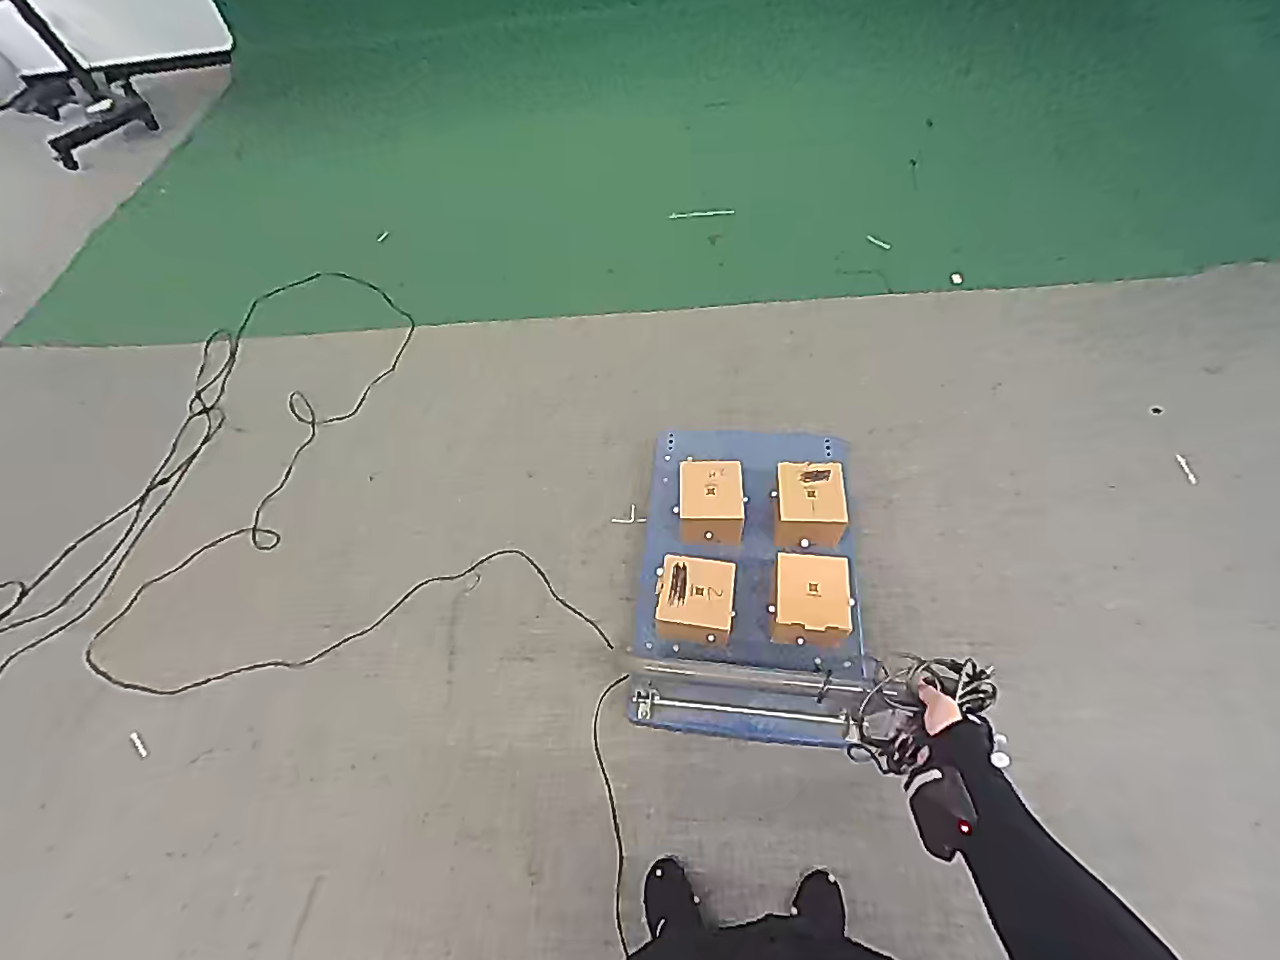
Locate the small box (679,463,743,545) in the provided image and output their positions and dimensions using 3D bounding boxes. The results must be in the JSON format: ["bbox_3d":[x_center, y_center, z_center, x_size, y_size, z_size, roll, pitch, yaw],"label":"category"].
[{"bbox_3d":[0.194,0.069,1.486,0.168,0.176,0.179,0,59,5],"label":"small box"}]

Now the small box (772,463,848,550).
[{"bbox_3d":[0.449,0.073,1.456,0.168,0.176,0.179,1,60,7],"label":"small box"}]

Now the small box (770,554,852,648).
[{"bbox_3d":[0.412,0.299,1.326,0.168,0.176,0.179,4,60,8],"label":"small box"}]
